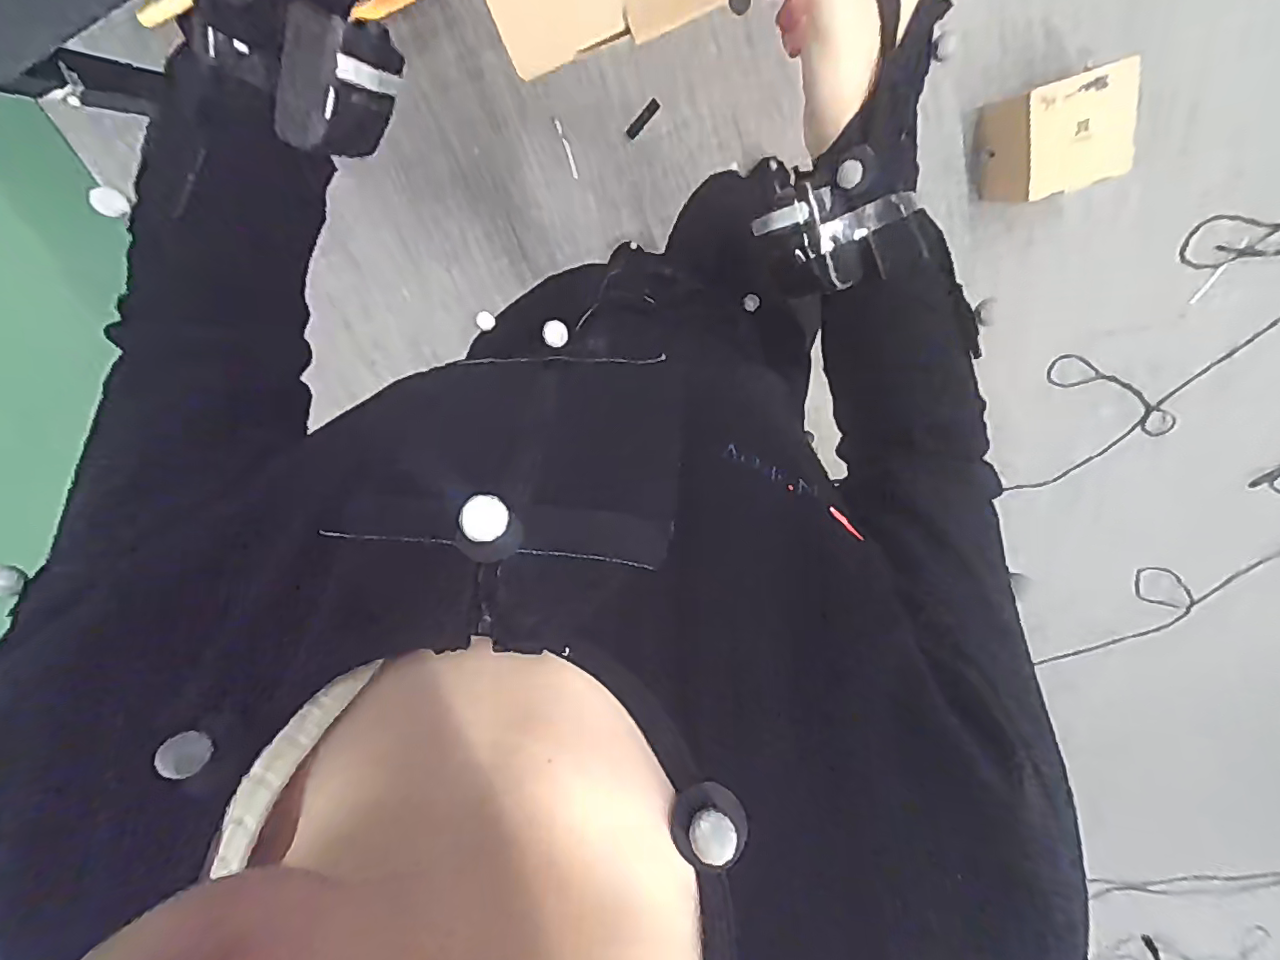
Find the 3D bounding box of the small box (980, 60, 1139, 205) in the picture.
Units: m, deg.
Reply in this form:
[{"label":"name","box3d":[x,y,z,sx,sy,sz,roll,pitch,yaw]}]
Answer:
[{"label":"small box","box3d":[0.748,-0.623,0.986,0.168,0.176,0.179,-14,116,10]}]
